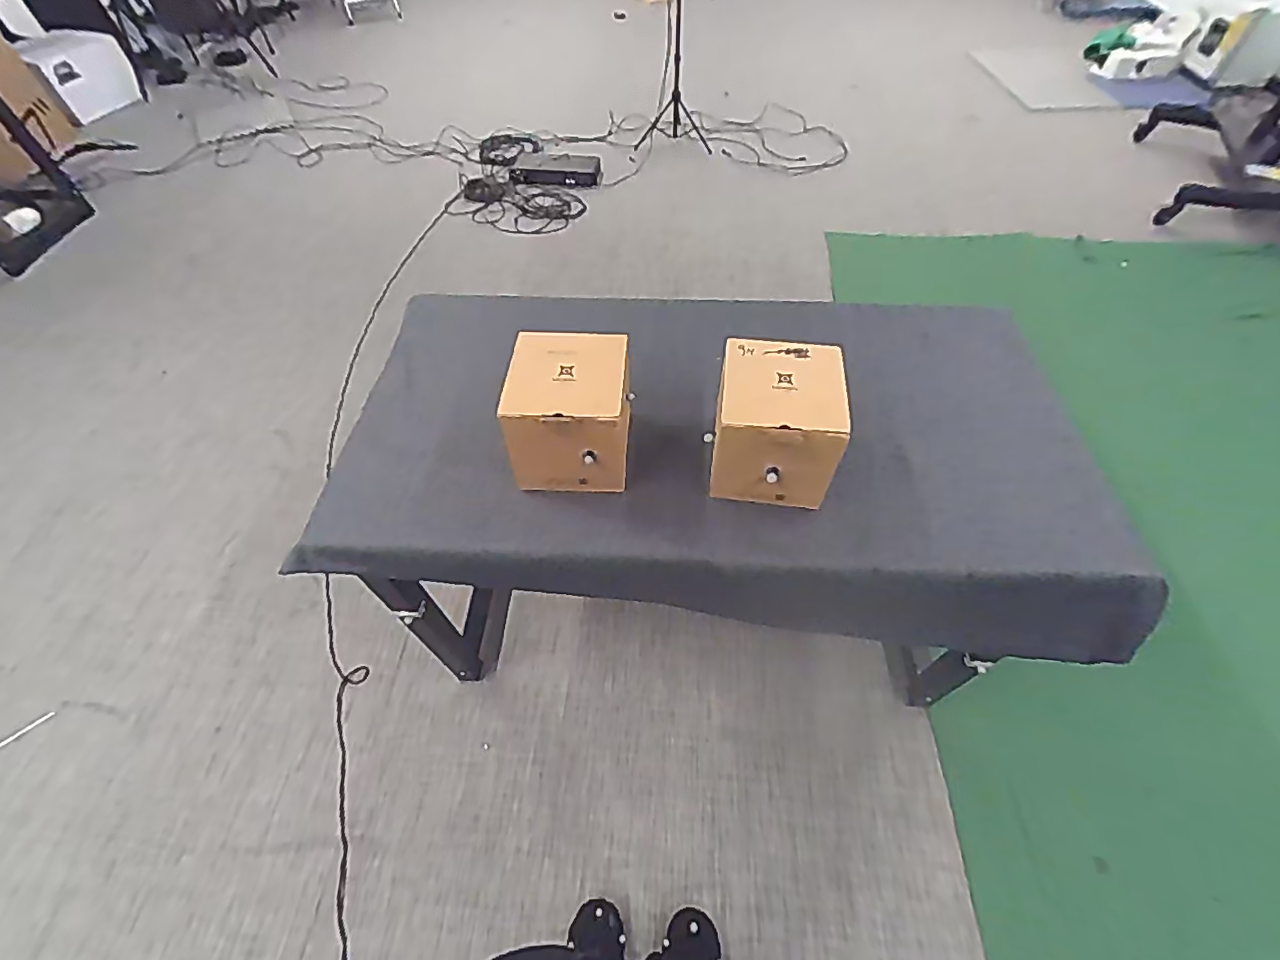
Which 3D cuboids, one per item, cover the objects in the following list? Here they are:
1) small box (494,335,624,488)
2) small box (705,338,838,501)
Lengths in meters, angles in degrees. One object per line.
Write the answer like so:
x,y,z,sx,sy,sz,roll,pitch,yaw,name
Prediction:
-0.111,-0.101,0.832,0.168,0.176,0.179,1,52,1,small box
0.189,-0.086,0.810,0.168,0.176,0.179,6,55,6,small box
